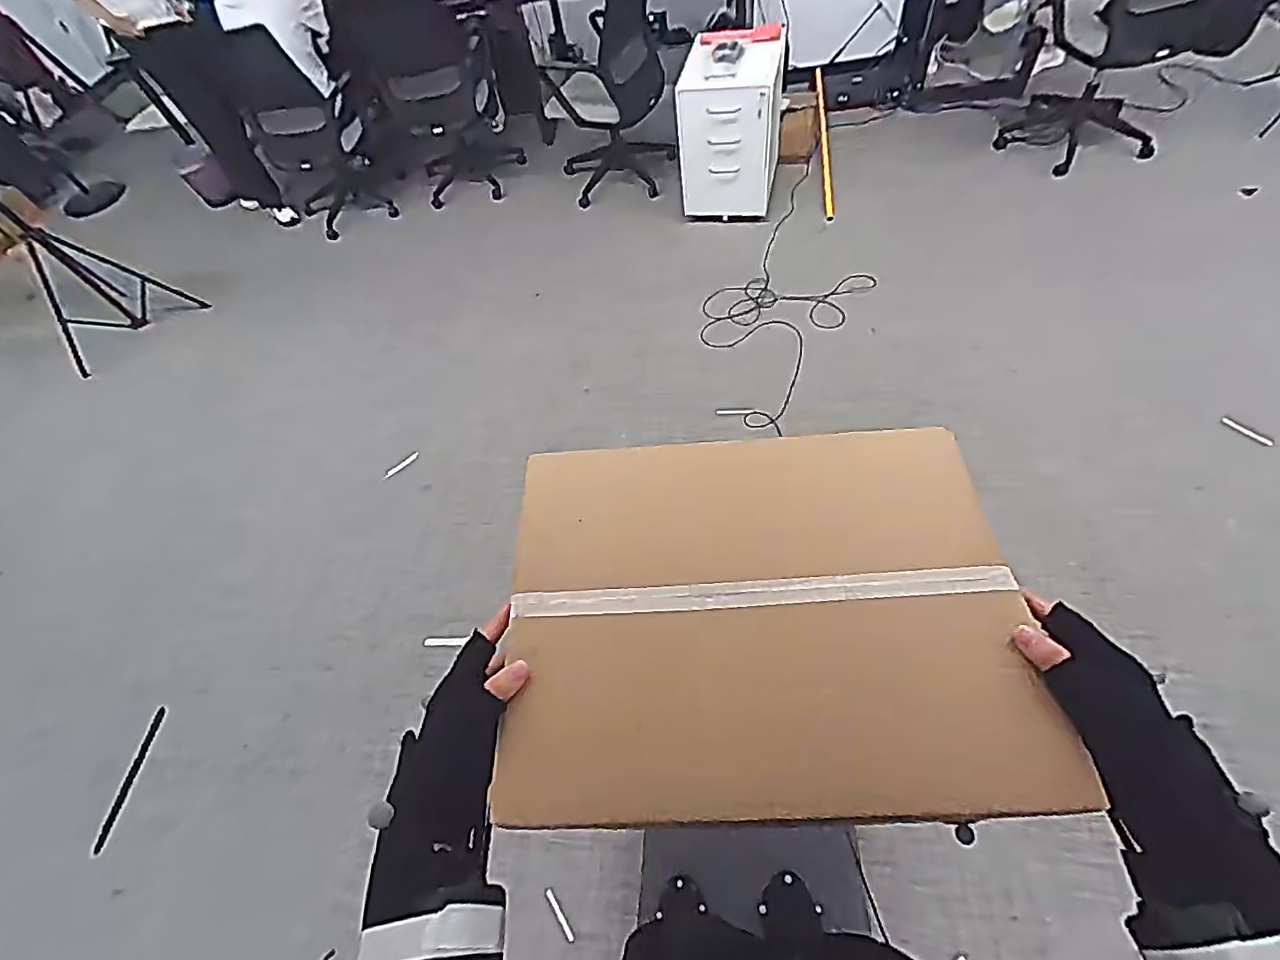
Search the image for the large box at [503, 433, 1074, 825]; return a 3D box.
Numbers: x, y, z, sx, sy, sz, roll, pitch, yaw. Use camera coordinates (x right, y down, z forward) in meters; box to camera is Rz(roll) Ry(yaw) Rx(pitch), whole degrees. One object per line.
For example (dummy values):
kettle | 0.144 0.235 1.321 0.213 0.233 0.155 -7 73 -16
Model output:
large box | 0.108 0.176 0.579 0.408 0.320 0.320 -4 57 4
